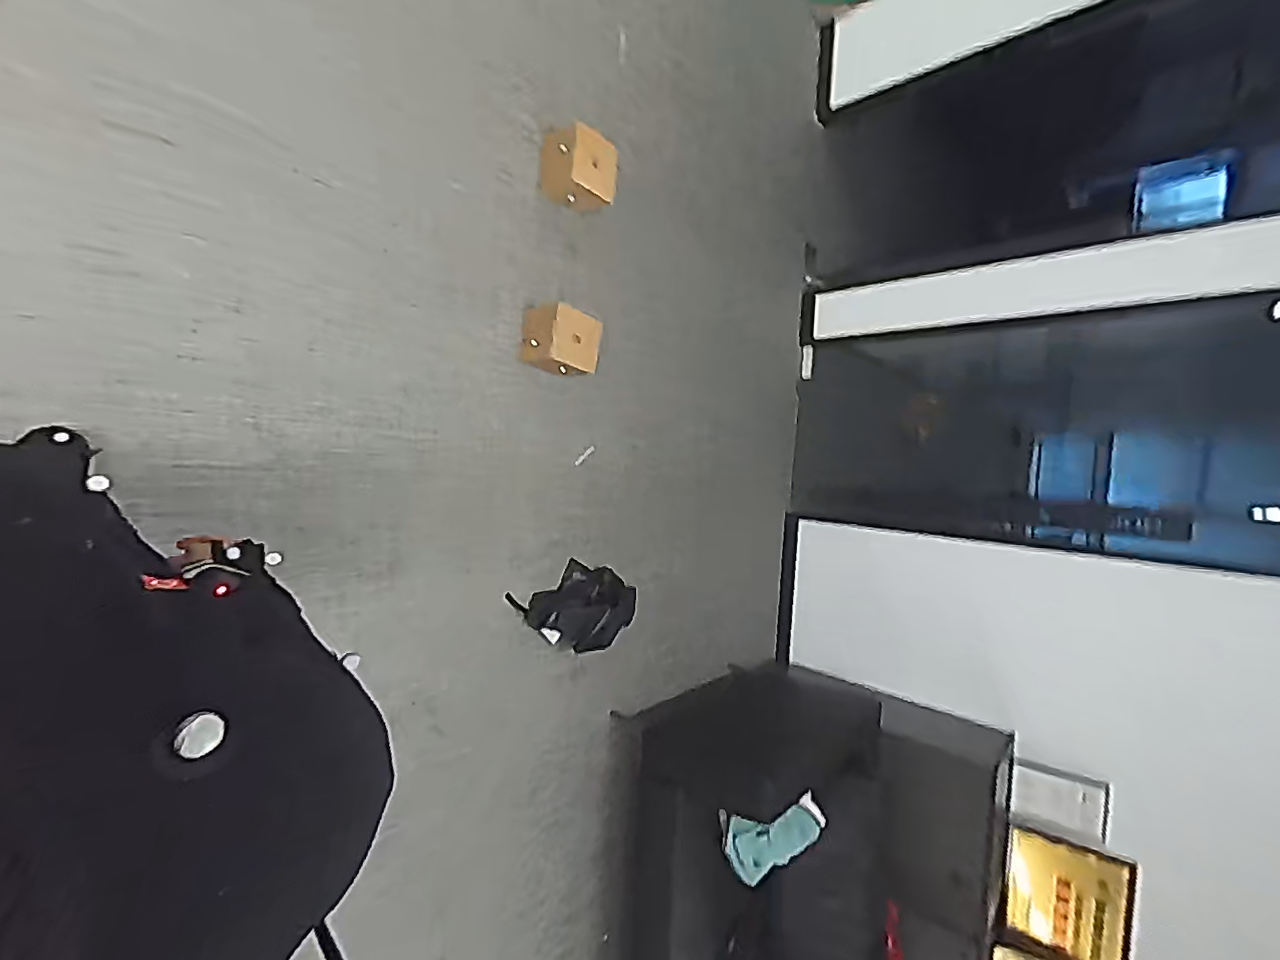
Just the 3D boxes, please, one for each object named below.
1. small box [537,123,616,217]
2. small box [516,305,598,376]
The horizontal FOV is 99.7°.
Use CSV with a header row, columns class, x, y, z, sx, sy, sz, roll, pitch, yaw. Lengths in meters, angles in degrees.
class,x,y,z,sx,sy,sz,roll,pitch,yaw
small box,-0.199,-0.938,1.659,0.168,0.176,0.179,6,90,-47
small box,-0.257,-0.418,1.656,0.179,0.176,0.168,12,87,-49
